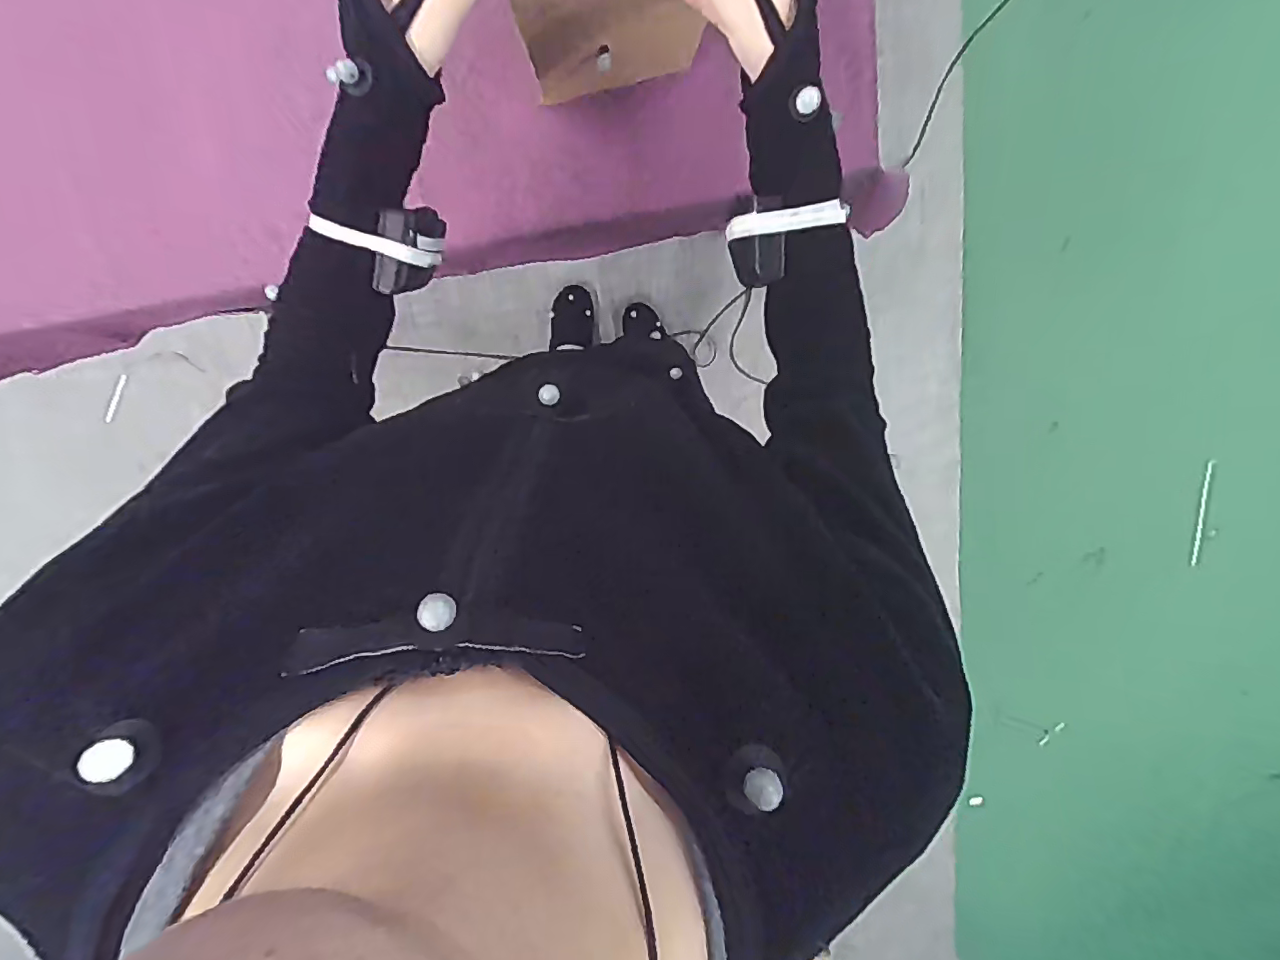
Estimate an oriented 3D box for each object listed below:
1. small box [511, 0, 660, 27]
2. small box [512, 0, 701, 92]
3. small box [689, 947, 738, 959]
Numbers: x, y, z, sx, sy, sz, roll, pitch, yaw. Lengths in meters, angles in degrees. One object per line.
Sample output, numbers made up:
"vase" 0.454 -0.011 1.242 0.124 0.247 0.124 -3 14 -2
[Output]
"small box" -0.029 -0.450 0.359 0.179 0.176 0.168 -12 108 1
"small box" -0.040 -0.505 0.514 0.179 0.176 0.168 -13 109 1
"small box" 0.265 1.716 1.818 0.168 0.176 0.179 -9 108 -1
